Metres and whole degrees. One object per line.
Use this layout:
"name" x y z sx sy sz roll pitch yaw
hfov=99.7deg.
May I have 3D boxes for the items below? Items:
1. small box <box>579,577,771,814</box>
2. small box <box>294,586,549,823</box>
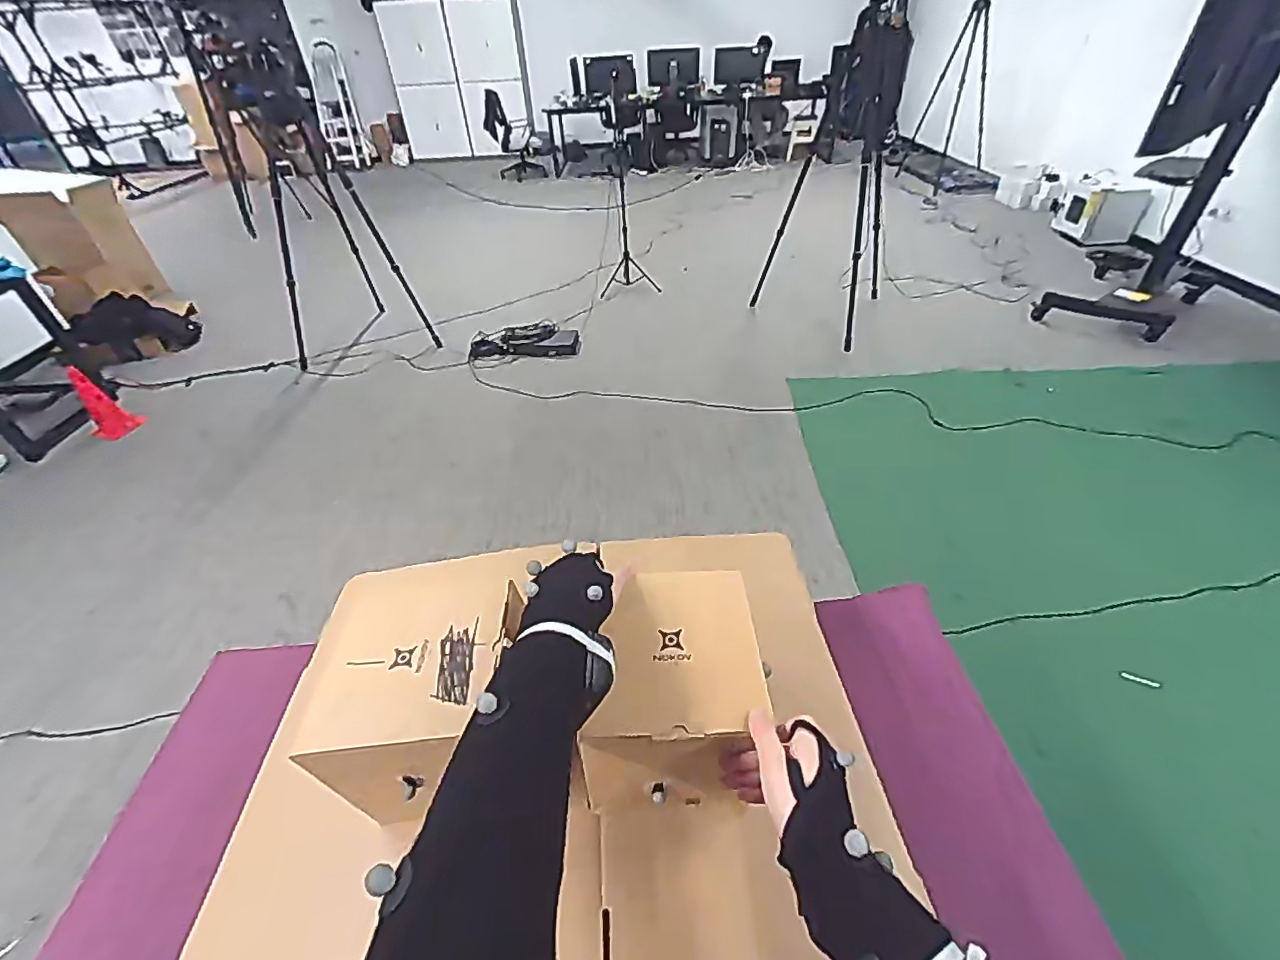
"small box" 0.027 0.223 0.568 0.168 0.176 0.179 -2 42 -1
"small box" -0.203 0.237 0.569 0.179 0.176 0.168 -9 41 4
